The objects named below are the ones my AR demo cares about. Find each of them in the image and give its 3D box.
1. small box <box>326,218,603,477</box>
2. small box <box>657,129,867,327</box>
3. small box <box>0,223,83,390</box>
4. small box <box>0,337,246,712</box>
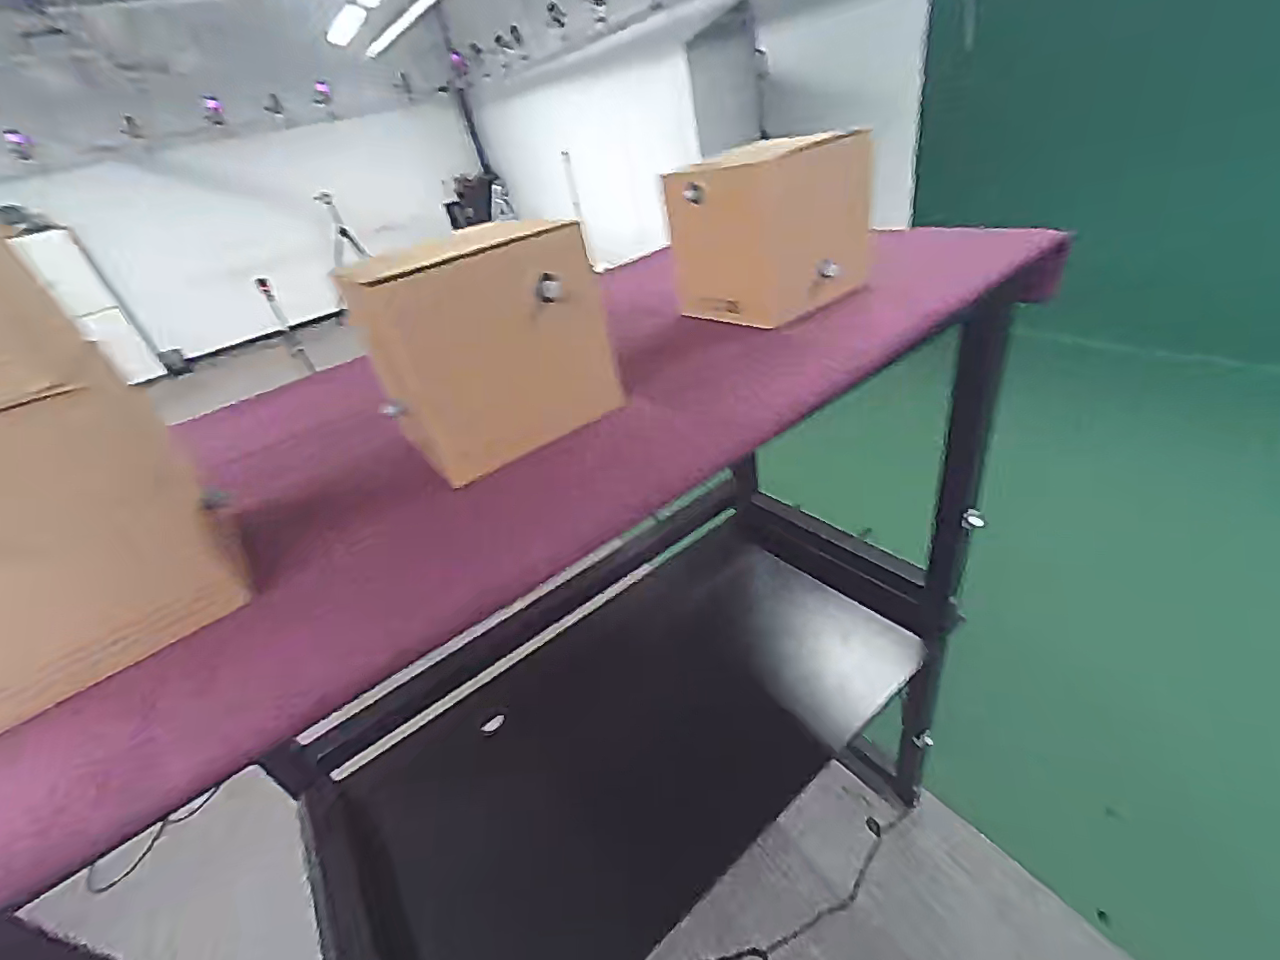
[{"bbox_3d":[-0.150,-0.130,0.498,0.179,0.176,0.168,-30,35,-24],"label":"small box"},{"bbox_3d":[0.146,-0.299,0.648,0.179,0.176,0.168,-30,35,-24],"label":"small box"},{"bbox_3d":[-0.437,-0.108,0.267,0.168,0.176,0.179,-33,37,-28],"label":"small box"},{"bbox_3d":[-0.404,0.026,0.352,0.179,0.176,0.168,-31,37,-28],"label":"small box"}]
